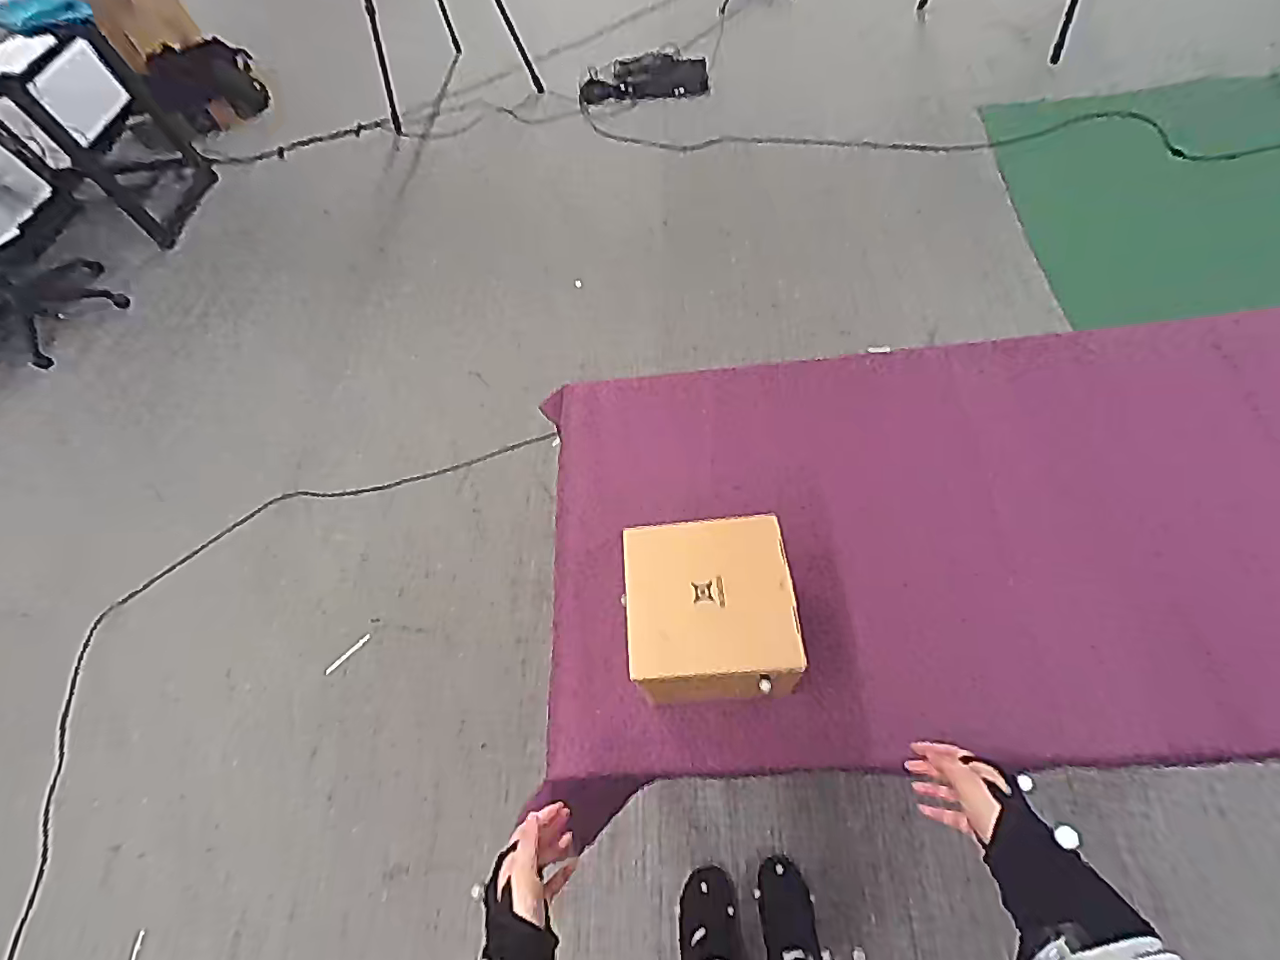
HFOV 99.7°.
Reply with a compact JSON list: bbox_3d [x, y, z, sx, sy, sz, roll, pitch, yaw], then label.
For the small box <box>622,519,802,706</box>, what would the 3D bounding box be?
[{"bbox_3d":[0.079,0.163,0.638,0.179,0.176,0.168,-6,59,4],"label":"small box"}]
